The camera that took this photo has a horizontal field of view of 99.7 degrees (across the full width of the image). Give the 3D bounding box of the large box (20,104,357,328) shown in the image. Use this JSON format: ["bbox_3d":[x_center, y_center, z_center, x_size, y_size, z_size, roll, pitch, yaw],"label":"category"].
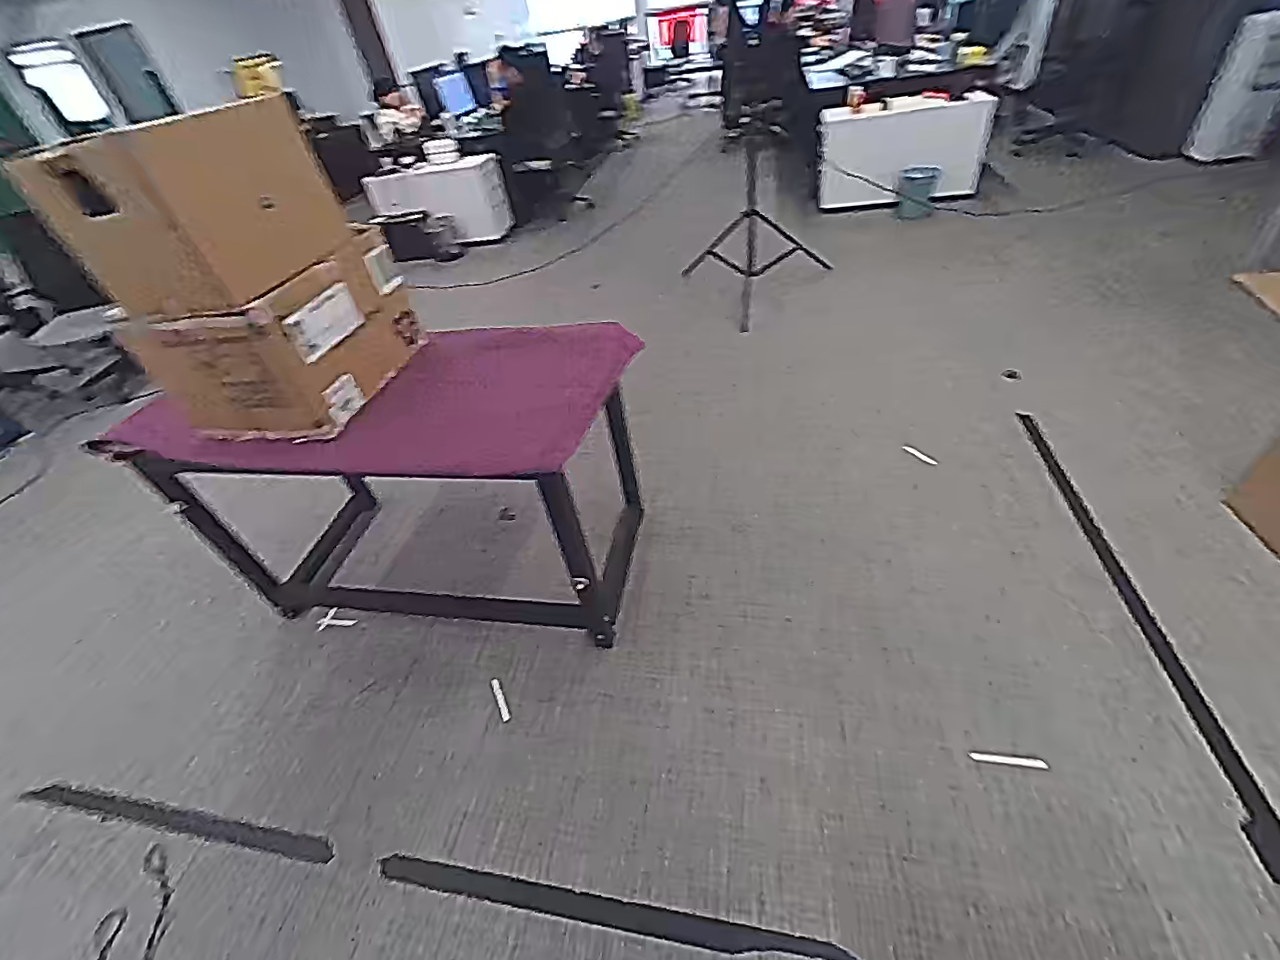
[{"bbox_3d":[-0.921,-0.576,1.179,0.320,0.320,0.408,-1,42,17],"label":"large box"}]
